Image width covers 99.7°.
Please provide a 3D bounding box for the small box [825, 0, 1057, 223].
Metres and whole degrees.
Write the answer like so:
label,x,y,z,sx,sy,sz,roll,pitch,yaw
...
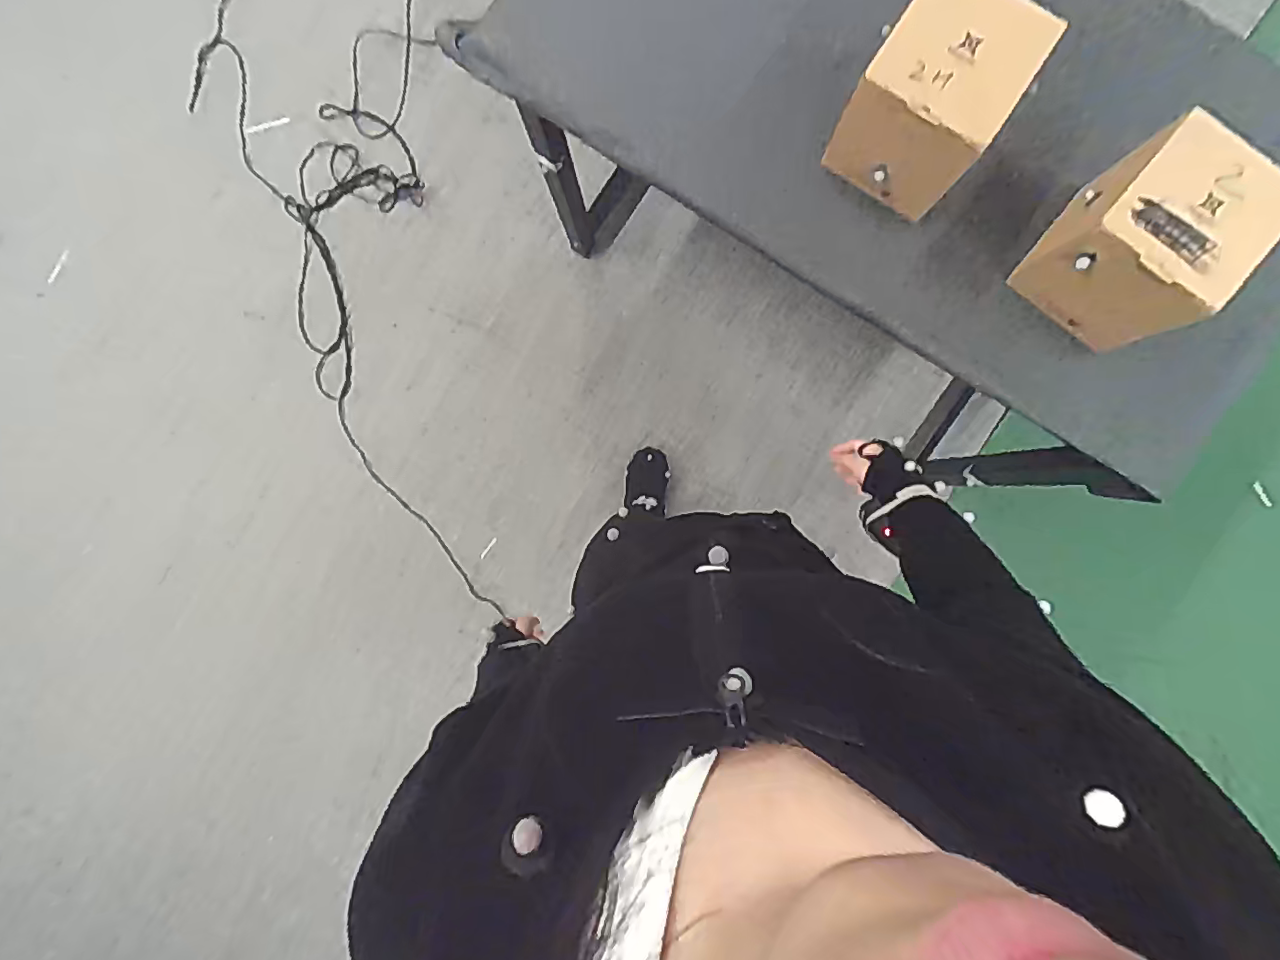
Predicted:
label,x,y,z,sx,sy,sz,roll,pitch,yaw
small box,0.371,-0.483,0.704,0.168,0.176,0.179,34,89,3
